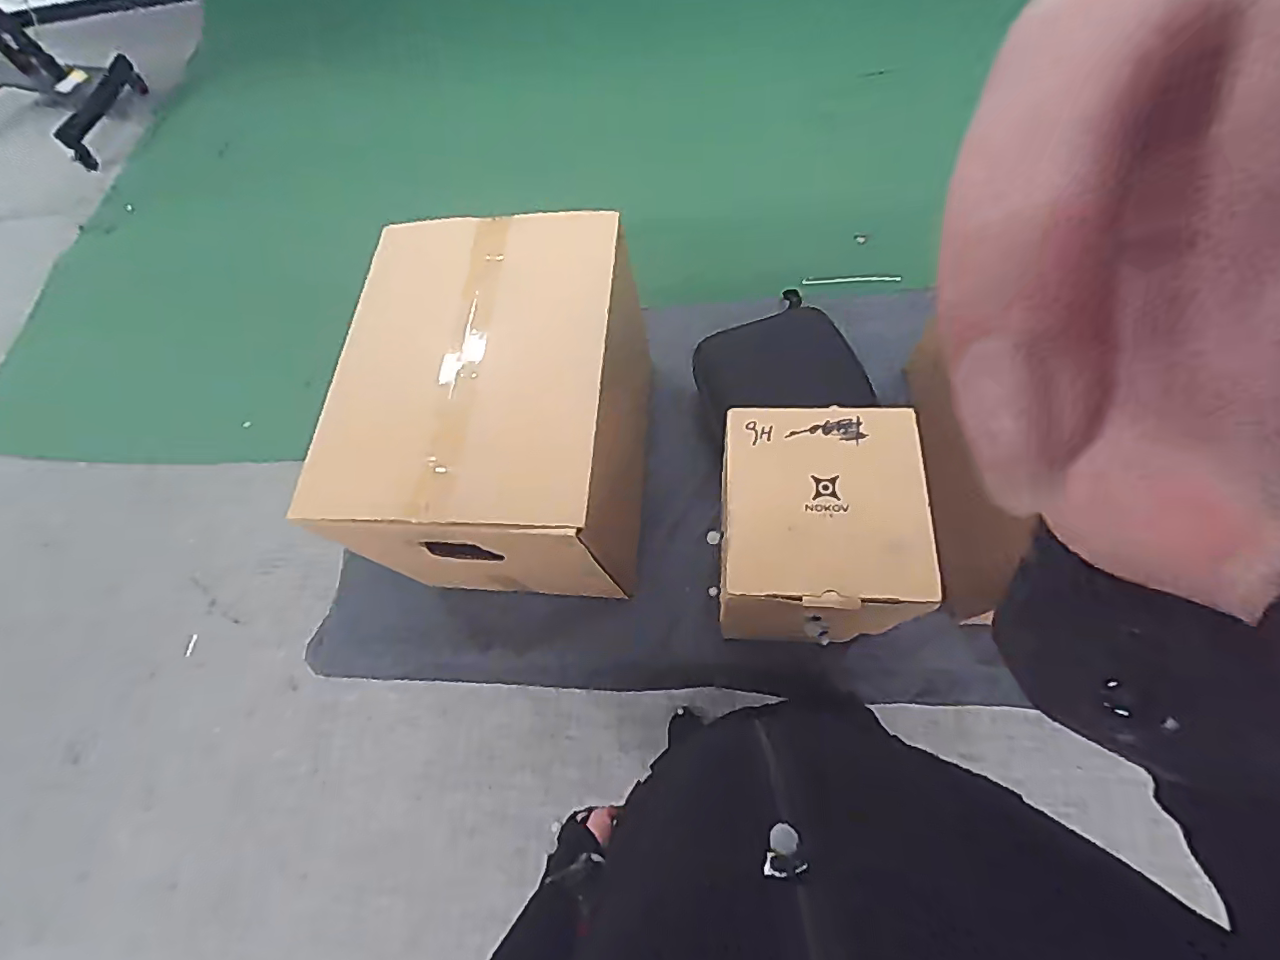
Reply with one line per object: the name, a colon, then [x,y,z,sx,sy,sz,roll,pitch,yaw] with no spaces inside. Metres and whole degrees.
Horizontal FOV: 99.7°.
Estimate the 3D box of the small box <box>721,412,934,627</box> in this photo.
small box: [0.167,0.048,0.538,0.168,0.176,0.179,1,69,7]
